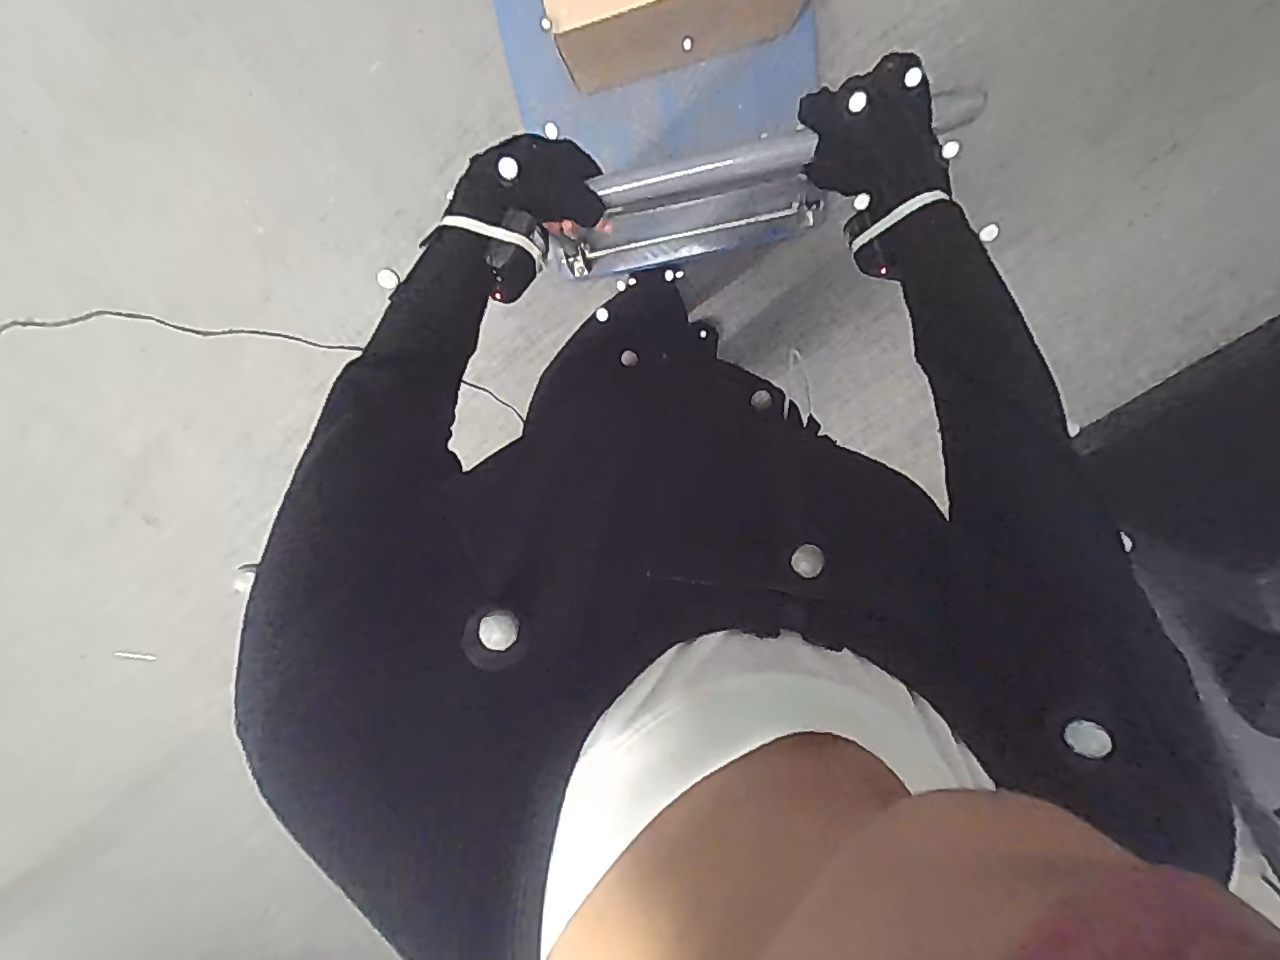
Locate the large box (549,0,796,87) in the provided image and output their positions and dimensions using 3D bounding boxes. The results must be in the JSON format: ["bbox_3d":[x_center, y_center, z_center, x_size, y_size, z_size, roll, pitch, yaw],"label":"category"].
[{"bbox_3d":[0.041,-0.889,0.843,0.408,0.320,0.320,-12,110,8],"label":"large box"}]
